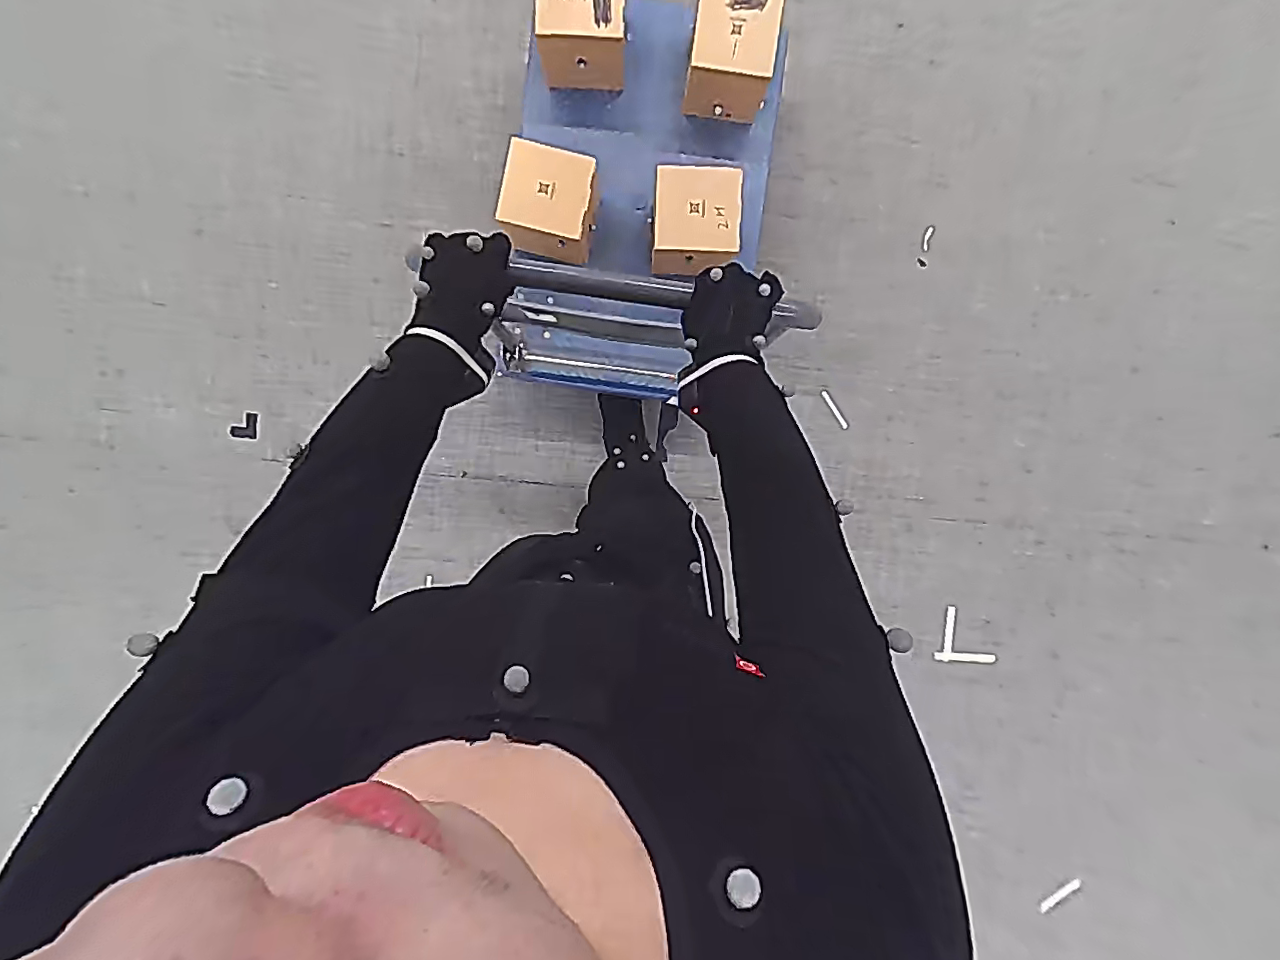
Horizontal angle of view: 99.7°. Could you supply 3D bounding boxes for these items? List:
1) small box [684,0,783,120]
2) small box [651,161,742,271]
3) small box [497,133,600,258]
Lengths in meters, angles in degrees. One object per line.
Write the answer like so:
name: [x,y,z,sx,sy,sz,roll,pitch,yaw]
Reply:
small box: [0.191,-0.908,1.140,0.168,0.176,0.179,8,96,-2]
small box: [0.115,-0.562,1.170,0.179,0.176,0.168,2,95,-1]
small box: [-0.189,-0.599,1.161,0.179,0.176,0.168,13,94,-4]
